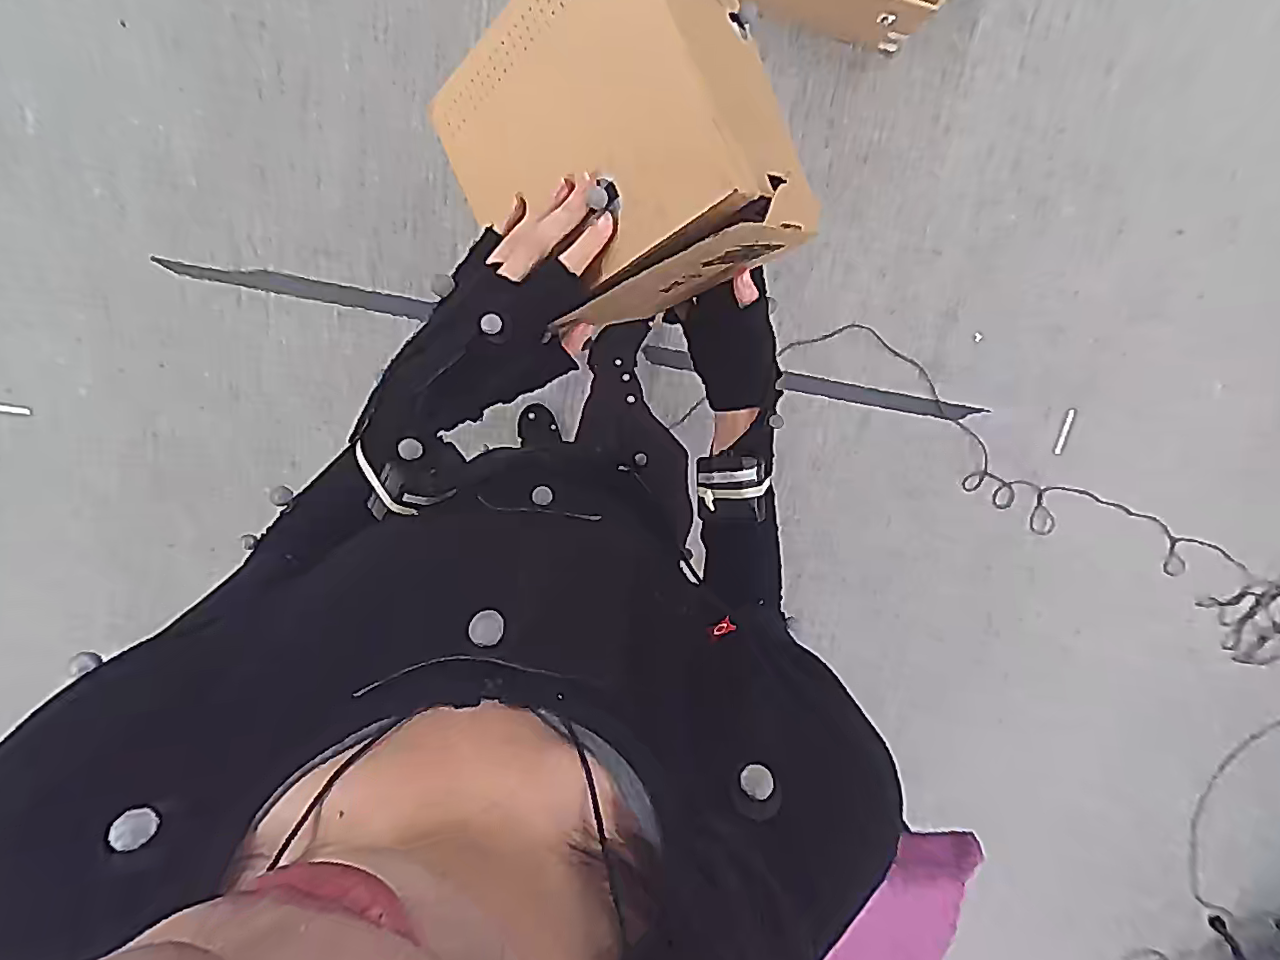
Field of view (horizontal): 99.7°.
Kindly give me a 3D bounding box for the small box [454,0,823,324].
[{"bbox_3d":[0.001,-0.233,0.386,0.179,0.168,0.176,-19,96,36],"label":"small box"}]
